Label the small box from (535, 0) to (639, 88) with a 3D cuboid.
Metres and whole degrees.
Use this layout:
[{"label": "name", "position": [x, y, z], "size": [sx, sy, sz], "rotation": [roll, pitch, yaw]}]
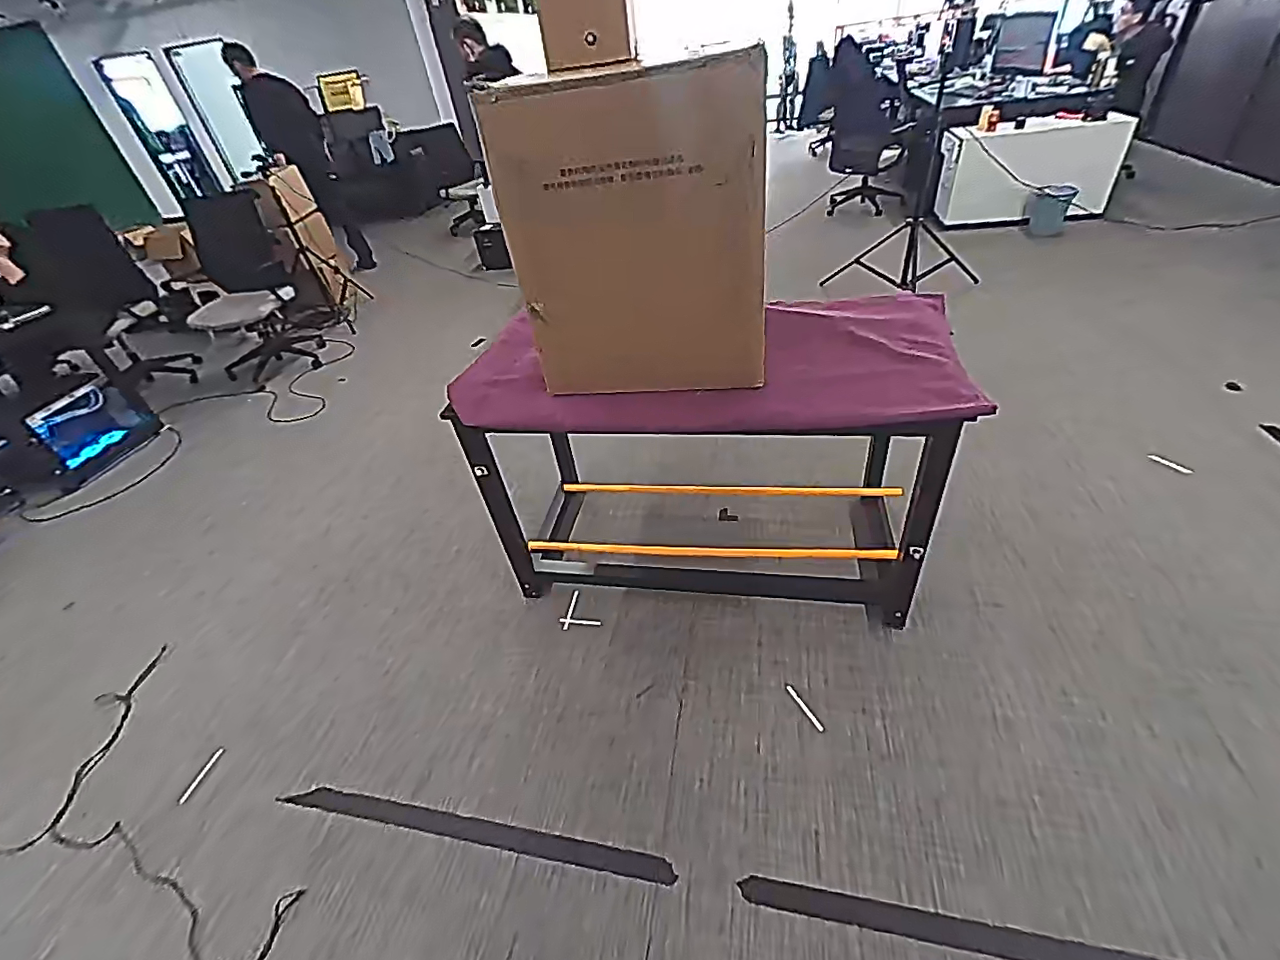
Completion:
[{"label": "small box", "position": [-0.104, -0.916, 1.095], "size": [0.179, 0.176, 0.168], "rotation": [-1, 39, 9]}]
